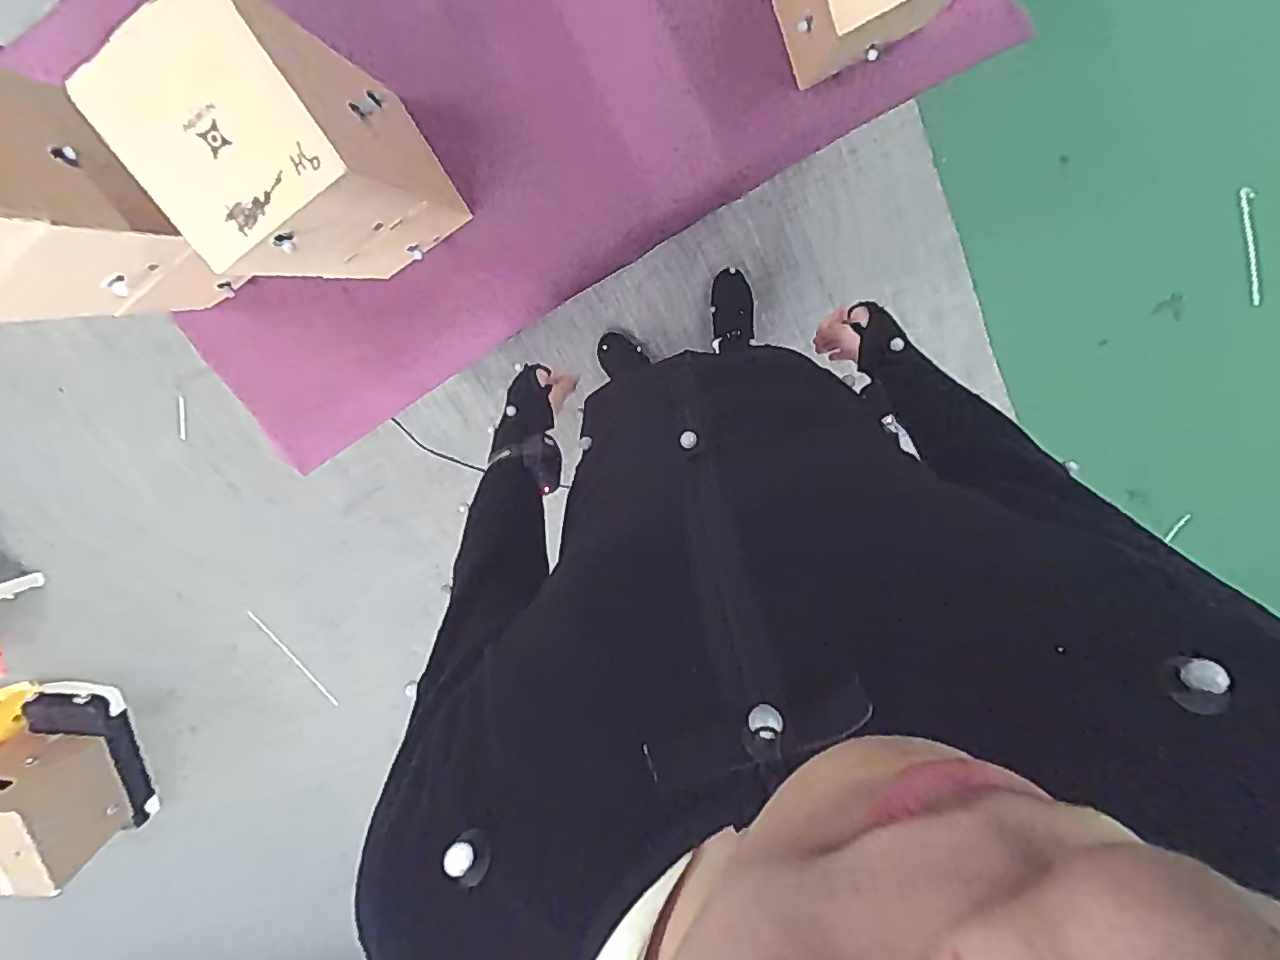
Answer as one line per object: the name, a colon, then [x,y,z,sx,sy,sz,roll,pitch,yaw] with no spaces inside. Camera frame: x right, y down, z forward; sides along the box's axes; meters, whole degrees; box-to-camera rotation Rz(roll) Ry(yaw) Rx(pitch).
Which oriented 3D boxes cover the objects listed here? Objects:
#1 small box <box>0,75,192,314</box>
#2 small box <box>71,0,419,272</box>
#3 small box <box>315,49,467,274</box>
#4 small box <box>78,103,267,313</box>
small box: [-0.637,-0.286,0.558,0.168,0.176,0.179,-30,108,13]
small box: [-0.361,-0.324,0.533,0.168,0.176,0.179,-29,106,12]
small box: [-0.355,-0.380,0.688,0.168,0.176,0.179,-28,107,12]
small box: [-0.632,-0.342,0.712,0.168,0.176,0.179,-30,108,12]
